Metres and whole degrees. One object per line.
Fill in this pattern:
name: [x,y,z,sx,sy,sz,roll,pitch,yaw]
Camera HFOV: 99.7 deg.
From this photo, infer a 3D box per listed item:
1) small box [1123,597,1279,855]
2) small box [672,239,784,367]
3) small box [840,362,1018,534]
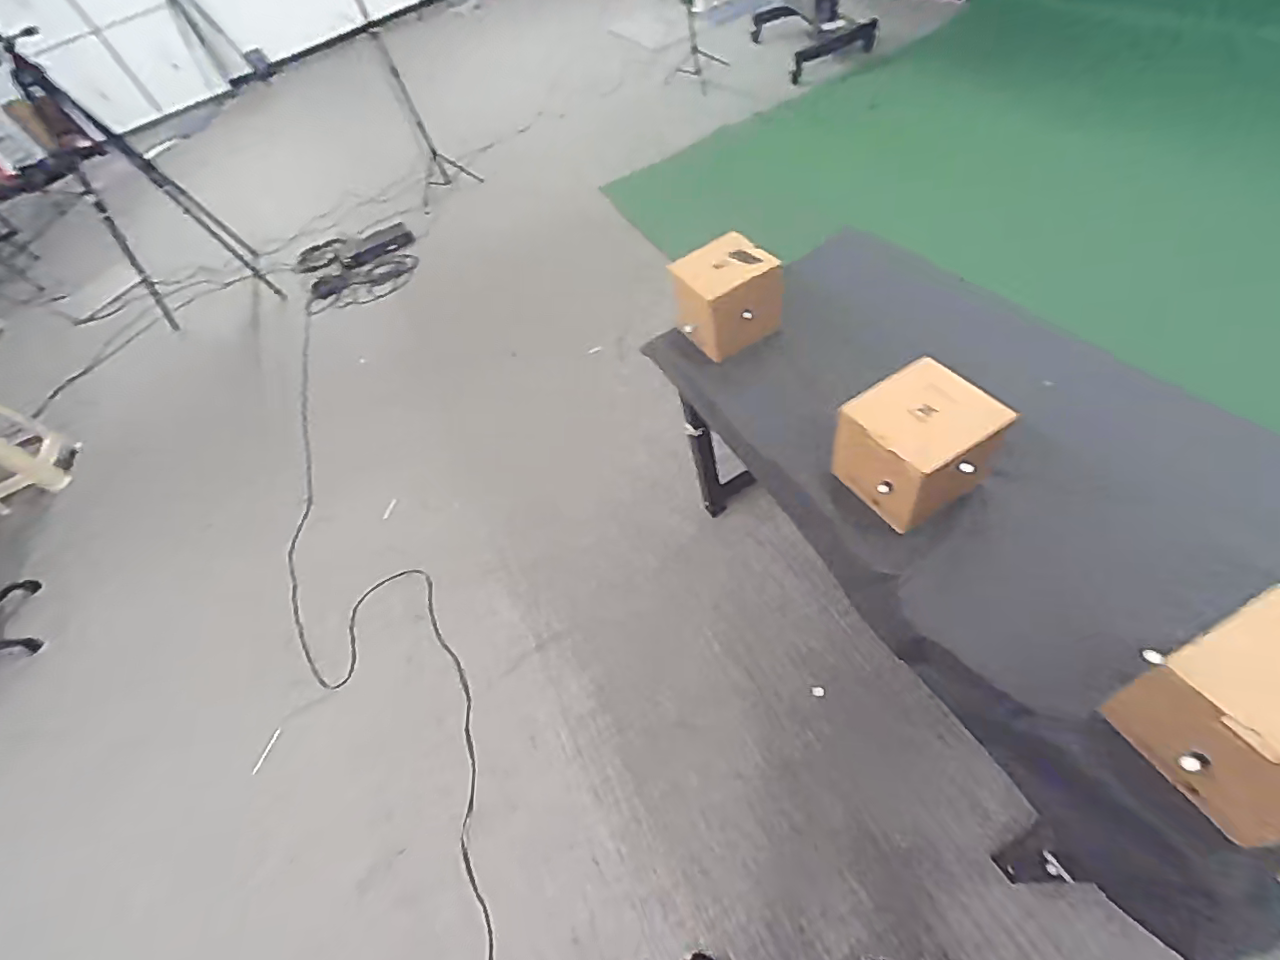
small box: [0.655,0.251,0.554,0.179,0.176,0.168,-28,49,-6]
small box: [0.192,-0.379,1.170,0.179,0.176,0.168,-30,52,-8]
small box: [0.436,-0.045,0.851,0.179,0.176,0.168,-29,53,-10]
